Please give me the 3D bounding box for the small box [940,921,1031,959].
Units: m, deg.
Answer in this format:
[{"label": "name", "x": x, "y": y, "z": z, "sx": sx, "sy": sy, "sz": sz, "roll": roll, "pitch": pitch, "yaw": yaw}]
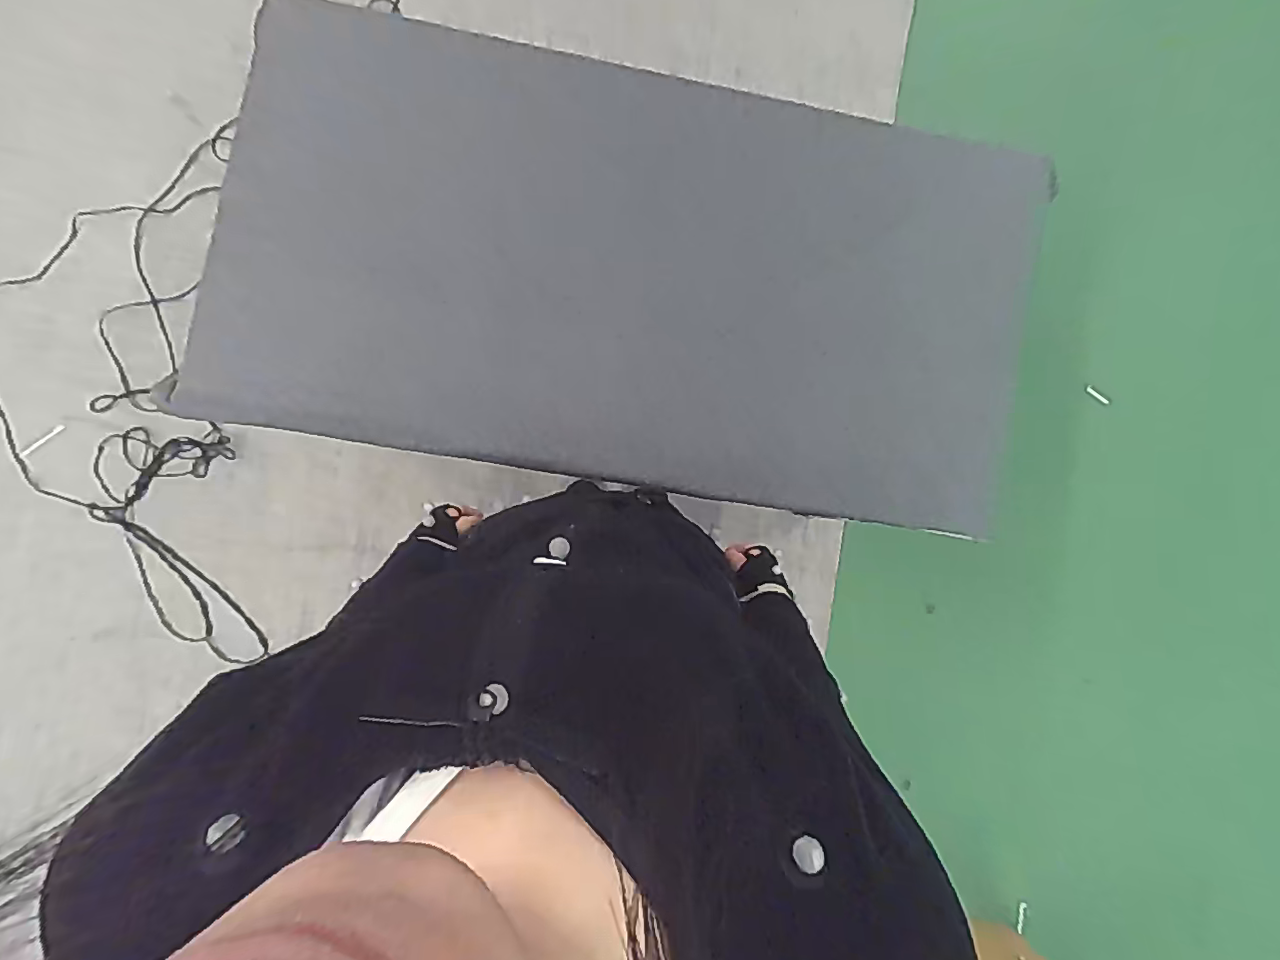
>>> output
[{"label": "small box", "x": 0.931, "y": 1.315, "z": 1.429, "sx": 0.179, "sy": 0.176, "sz": 0.168, "roll": 10, "pitch": 86, "yaw": -3}]
